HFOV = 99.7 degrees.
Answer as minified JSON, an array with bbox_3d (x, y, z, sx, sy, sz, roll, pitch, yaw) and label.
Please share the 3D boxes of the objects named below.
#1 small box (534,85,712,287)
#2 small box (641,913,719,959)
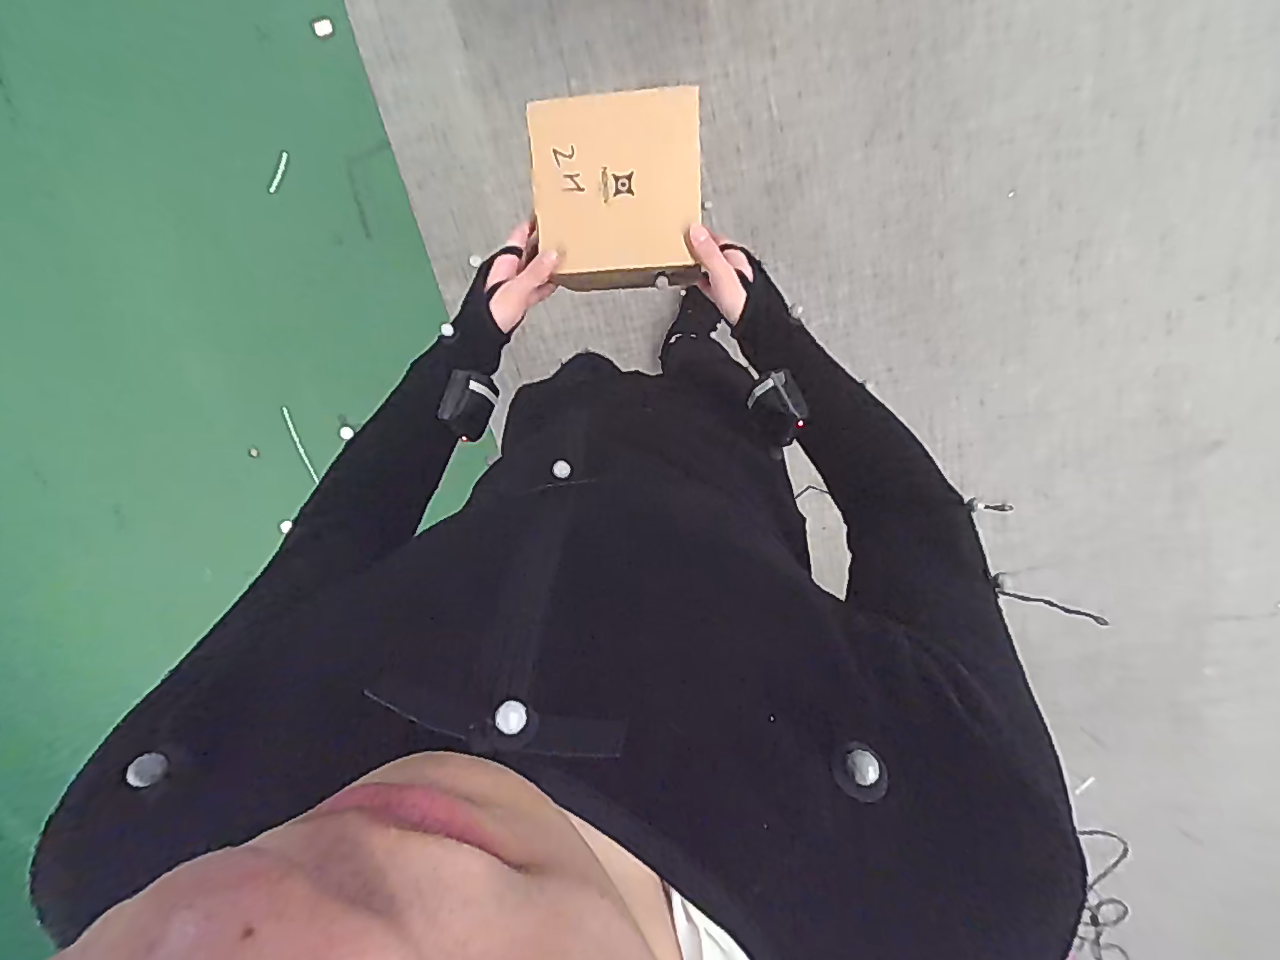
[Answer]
[{"bbox_3d":[-0.010,-0.321,0.624,0.179,0.176,0.168,-1,103,6],"label":"small box"},{"bbox_3d":[0.093,1.127,1.228,0.179,0.176,0.168,-2,111,8],"label":"small box"}]
